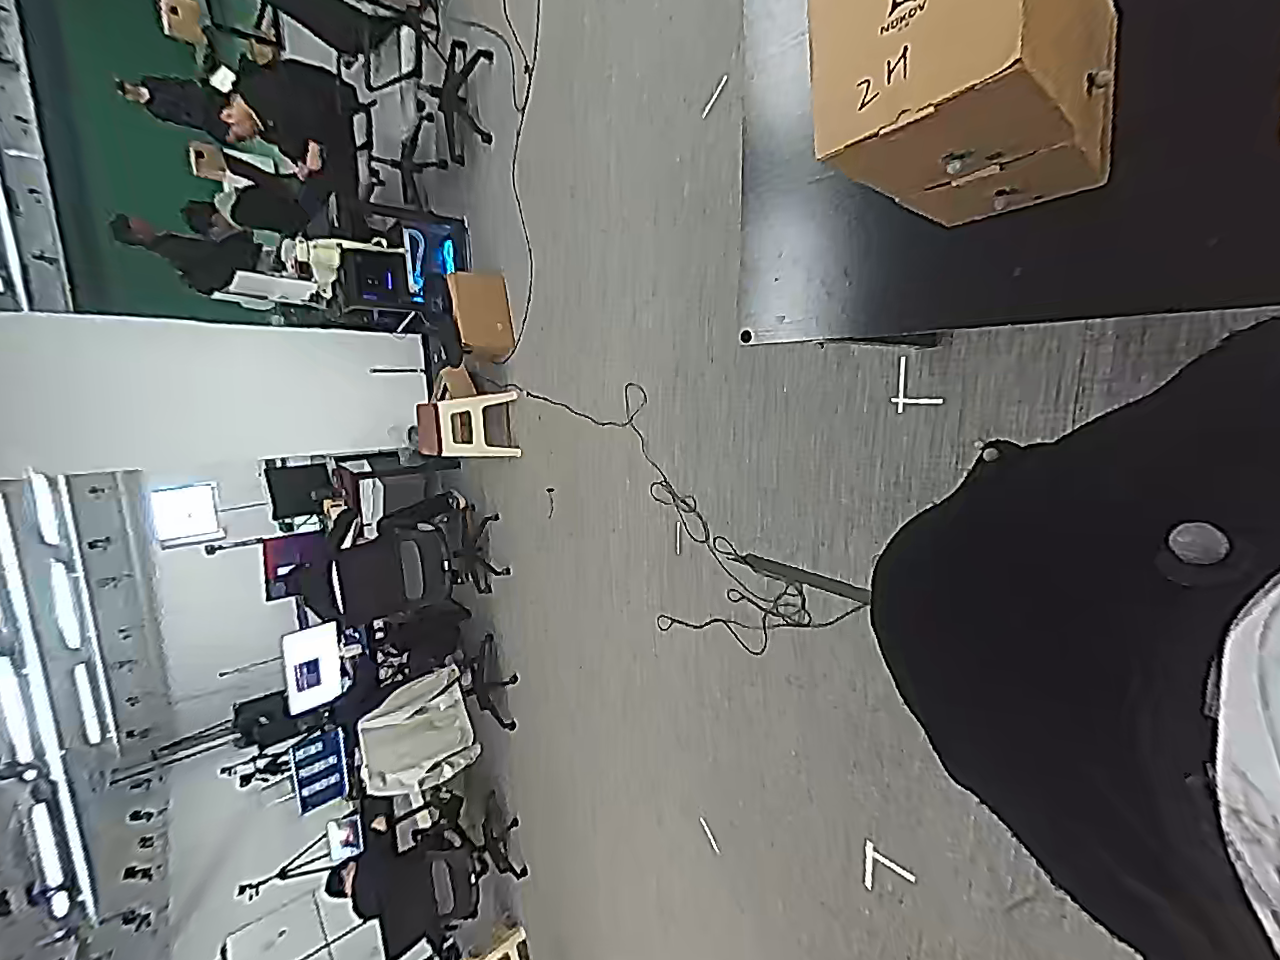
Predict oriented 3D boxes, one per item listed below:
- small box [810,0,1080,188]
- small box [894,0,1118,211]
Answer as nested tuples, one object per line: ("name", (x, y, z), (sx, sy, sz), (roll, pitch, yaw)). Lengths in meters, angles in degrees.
("small box", (0.272, -0.397, 0.486), (0.168, 0.176, 0.179), (3, 99, 50))
("small box", (0.398, -0.414, 0.593), (0.168, 0.176, 0.179), (5, 101, 50))
